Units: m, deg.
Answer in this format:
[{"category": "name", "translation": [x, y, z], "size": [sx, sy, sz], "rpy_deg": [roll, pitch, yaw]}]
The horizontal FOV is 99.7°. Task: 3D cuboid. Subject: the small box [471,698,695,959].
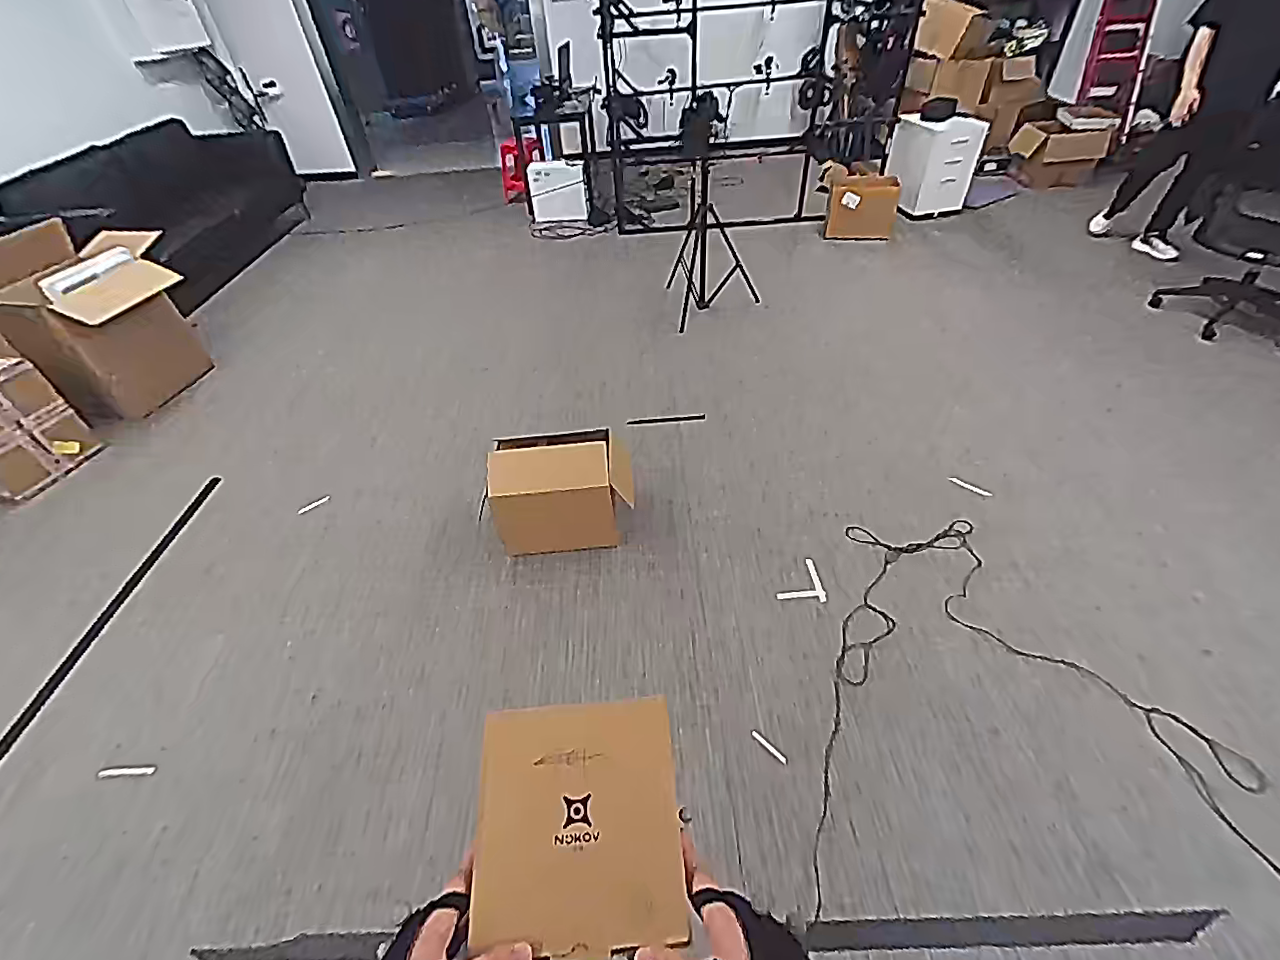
[{"category": "small box", "translation": [-0.045, 0.315, 0.496], "size": [0.168, 0.176, 0.179], "rpy_deg": [-5, 55, -3]}]
